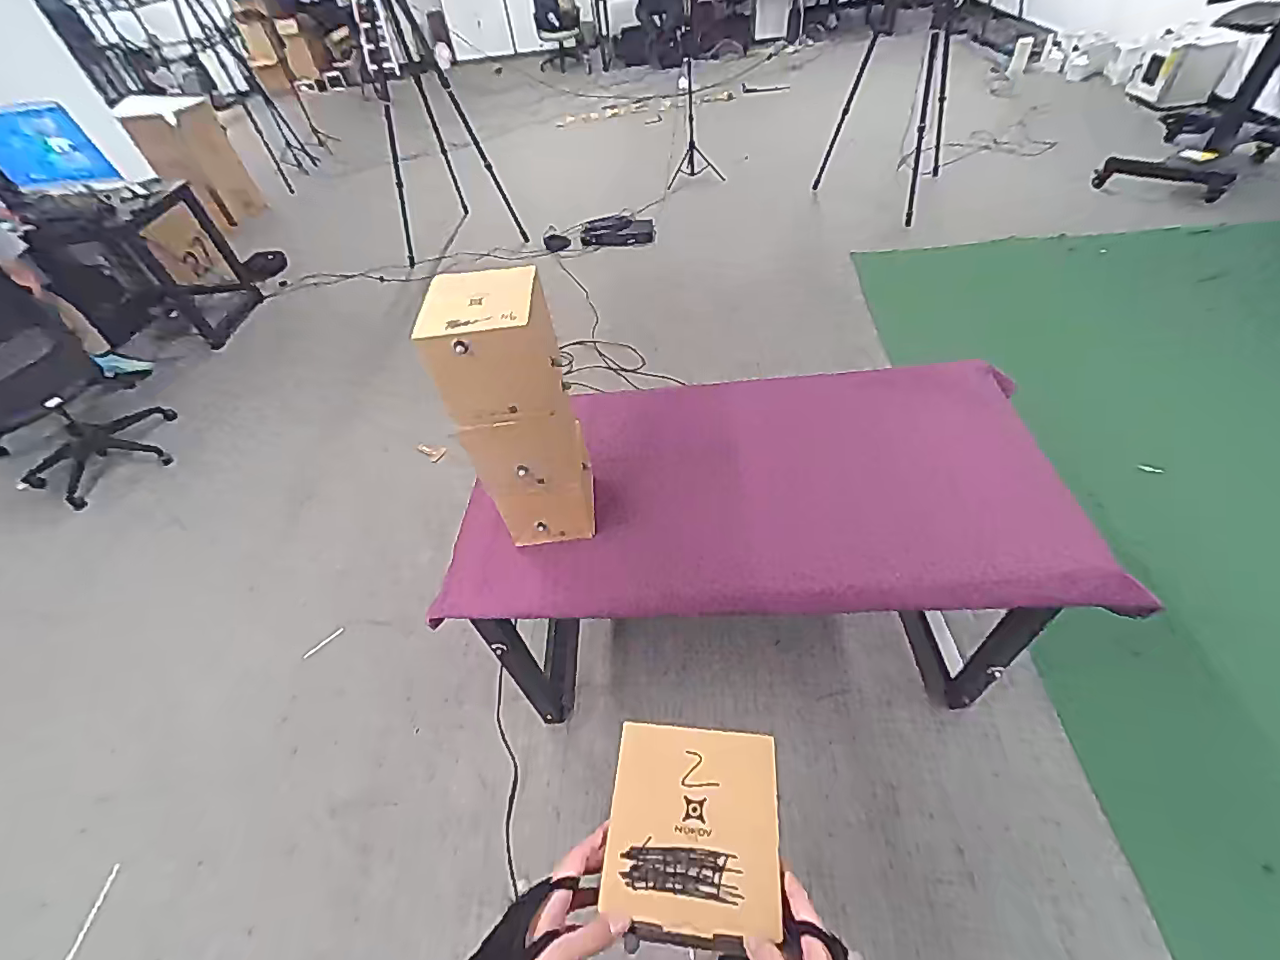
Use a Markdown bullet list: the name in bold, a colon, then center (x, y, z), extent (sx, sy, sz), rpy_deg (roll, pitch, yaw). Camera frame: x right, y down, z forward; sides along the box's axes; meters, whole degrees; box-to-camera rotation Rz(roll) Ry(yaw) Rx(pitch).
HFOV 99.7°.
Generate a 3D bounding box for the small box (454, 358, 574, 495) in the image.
- **small box**: center (-0.217, -0.098, 0.976), extent (0.168, 0.176, 0.179), rpy_deg (-8, 48, 1)

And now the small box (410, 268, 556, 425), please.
- **small box**: center (-0.233, -0.209, 0.856), extent (0.168, 0.176, 0.179), rpy_deg (-6, 47, 3)

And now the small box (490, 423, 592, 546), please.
- **small box**: center (-0.192, 0.011, 1.097), extent (0.168, 0.176, 0.179), rpy_deg (-7, 48, 1)
